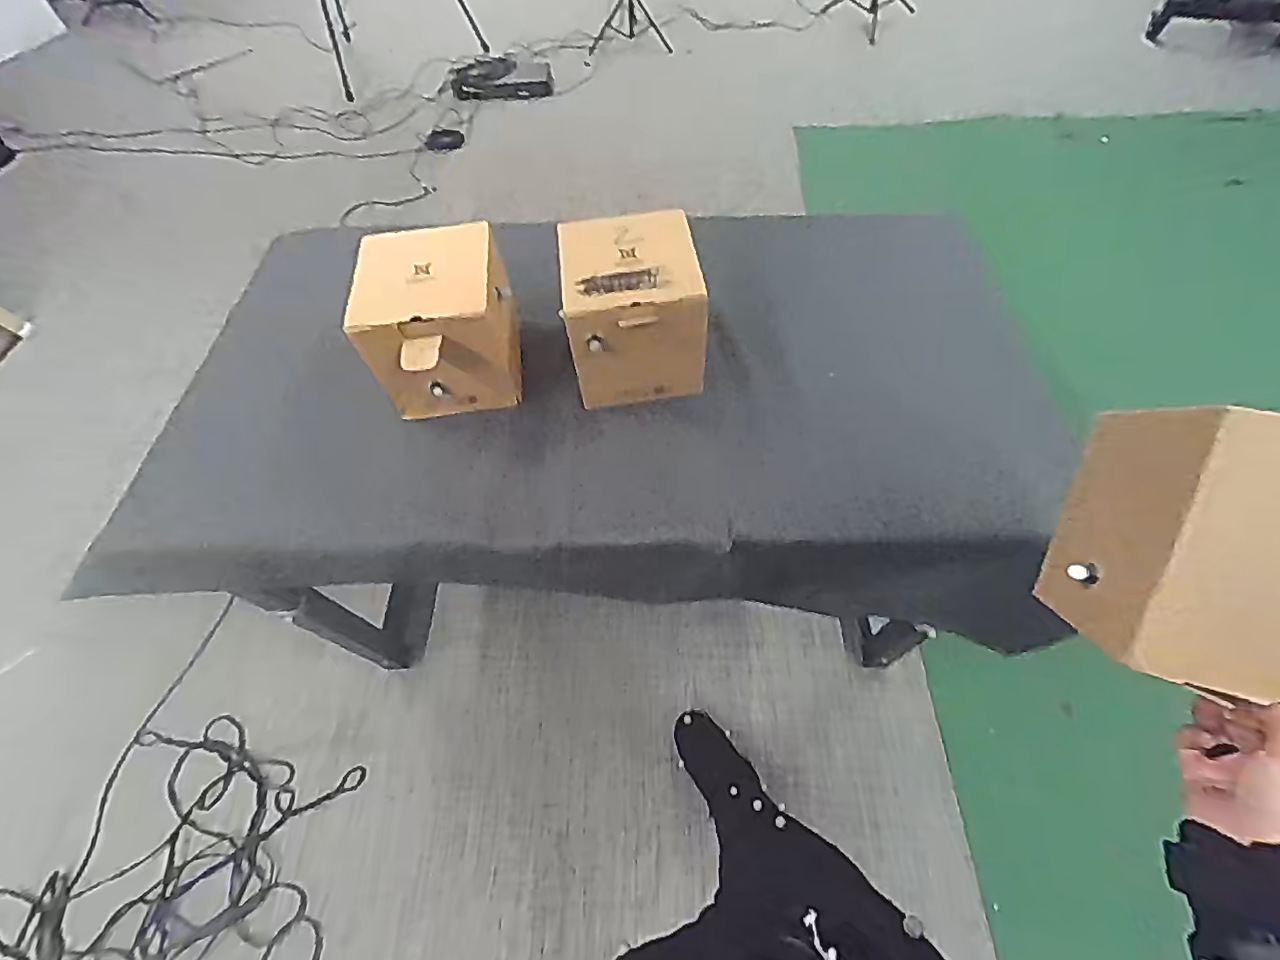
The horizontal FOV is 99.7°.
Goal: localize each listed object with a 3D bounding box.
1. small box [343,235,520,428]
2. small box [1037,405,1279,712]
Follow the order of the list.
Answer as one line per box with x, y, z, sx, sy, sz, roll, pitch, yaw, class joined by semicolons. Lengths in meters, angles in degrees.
-0.261;-0.194;0.722;0.168;0.176;0.179;-8;58;-2;small box
0.425;0.050;0.391;0.168;0.176;0.179;13;98;16;small box
